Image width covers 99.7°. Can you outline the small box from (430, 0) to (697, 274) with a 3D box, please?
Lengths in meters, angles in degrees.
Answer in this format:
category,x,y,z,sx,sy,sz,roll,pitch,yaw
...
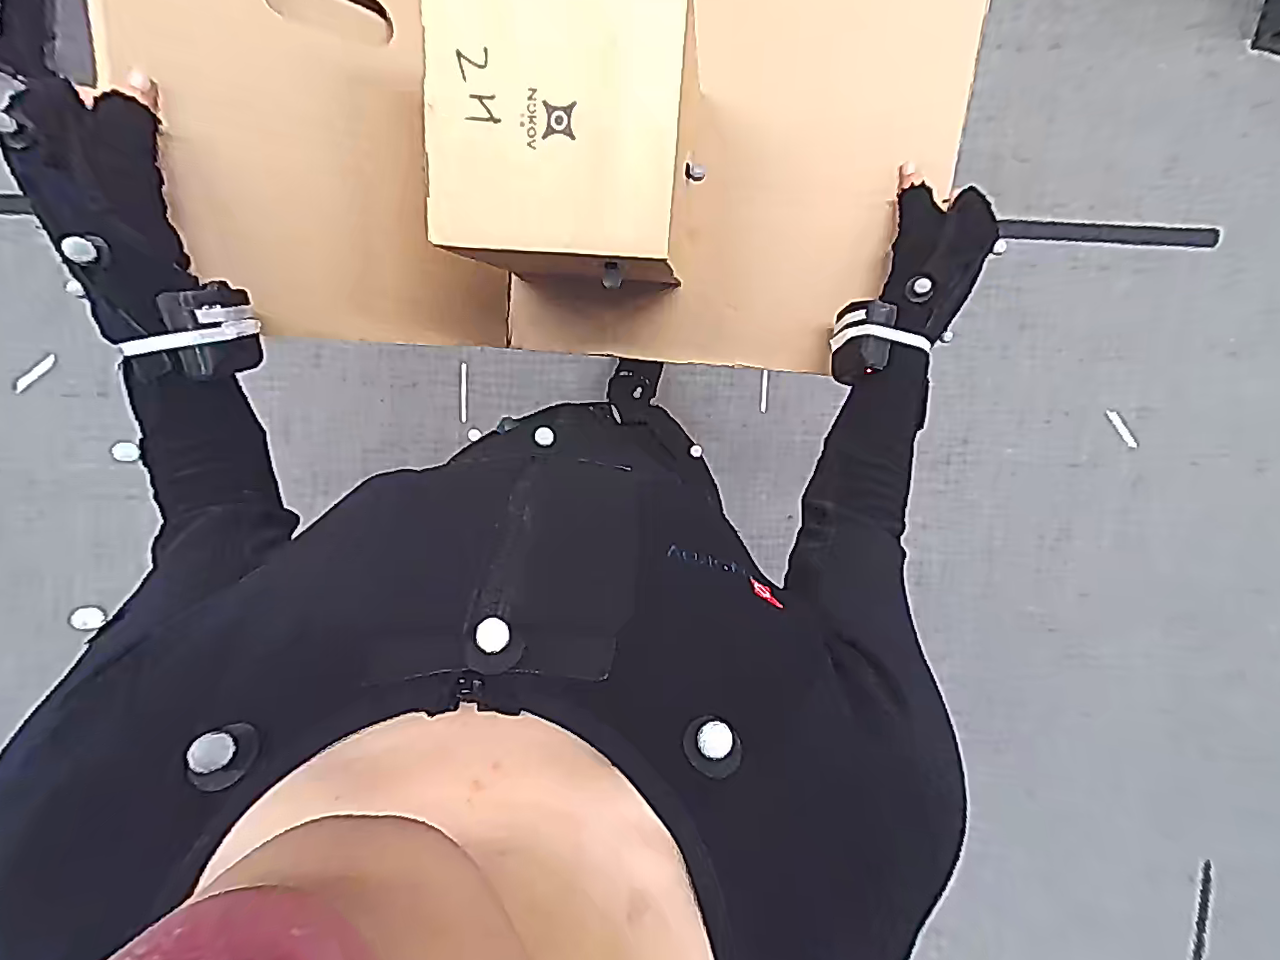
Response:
category,x,y,z,sx,sy,sz,roll,pitch,yaw
small box,-0.049,-0.268,0.442,0.179,0.176,0.168,7,105,7
